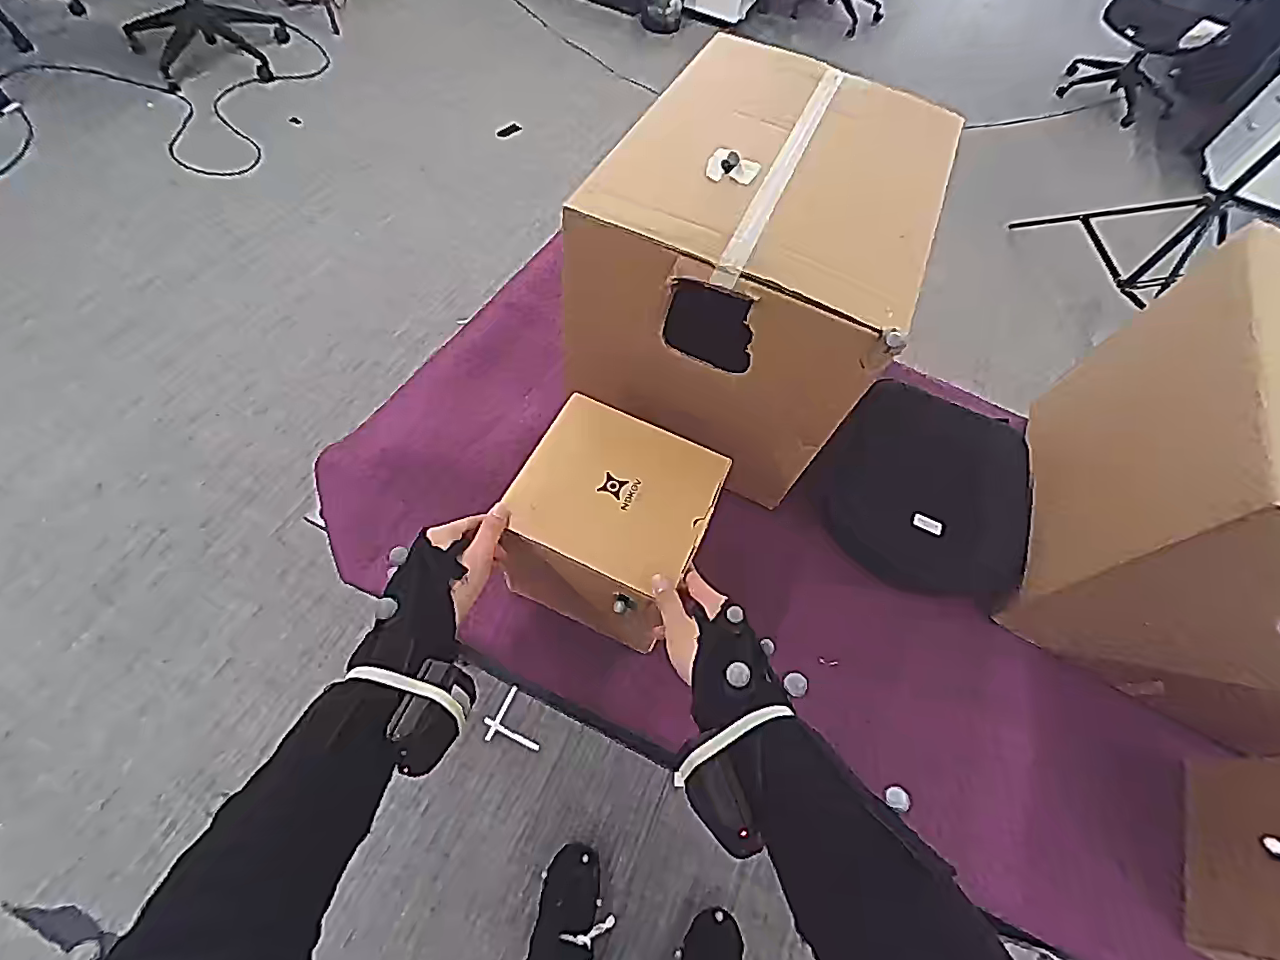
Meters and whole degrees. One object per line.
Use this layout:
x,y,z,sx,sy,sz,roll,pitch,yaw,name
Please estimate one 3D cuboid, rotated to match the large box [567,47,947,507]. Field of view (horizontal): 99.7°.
0.131,-0.244,0.684,0.320,0.320,0.408,23,62,6,large box
